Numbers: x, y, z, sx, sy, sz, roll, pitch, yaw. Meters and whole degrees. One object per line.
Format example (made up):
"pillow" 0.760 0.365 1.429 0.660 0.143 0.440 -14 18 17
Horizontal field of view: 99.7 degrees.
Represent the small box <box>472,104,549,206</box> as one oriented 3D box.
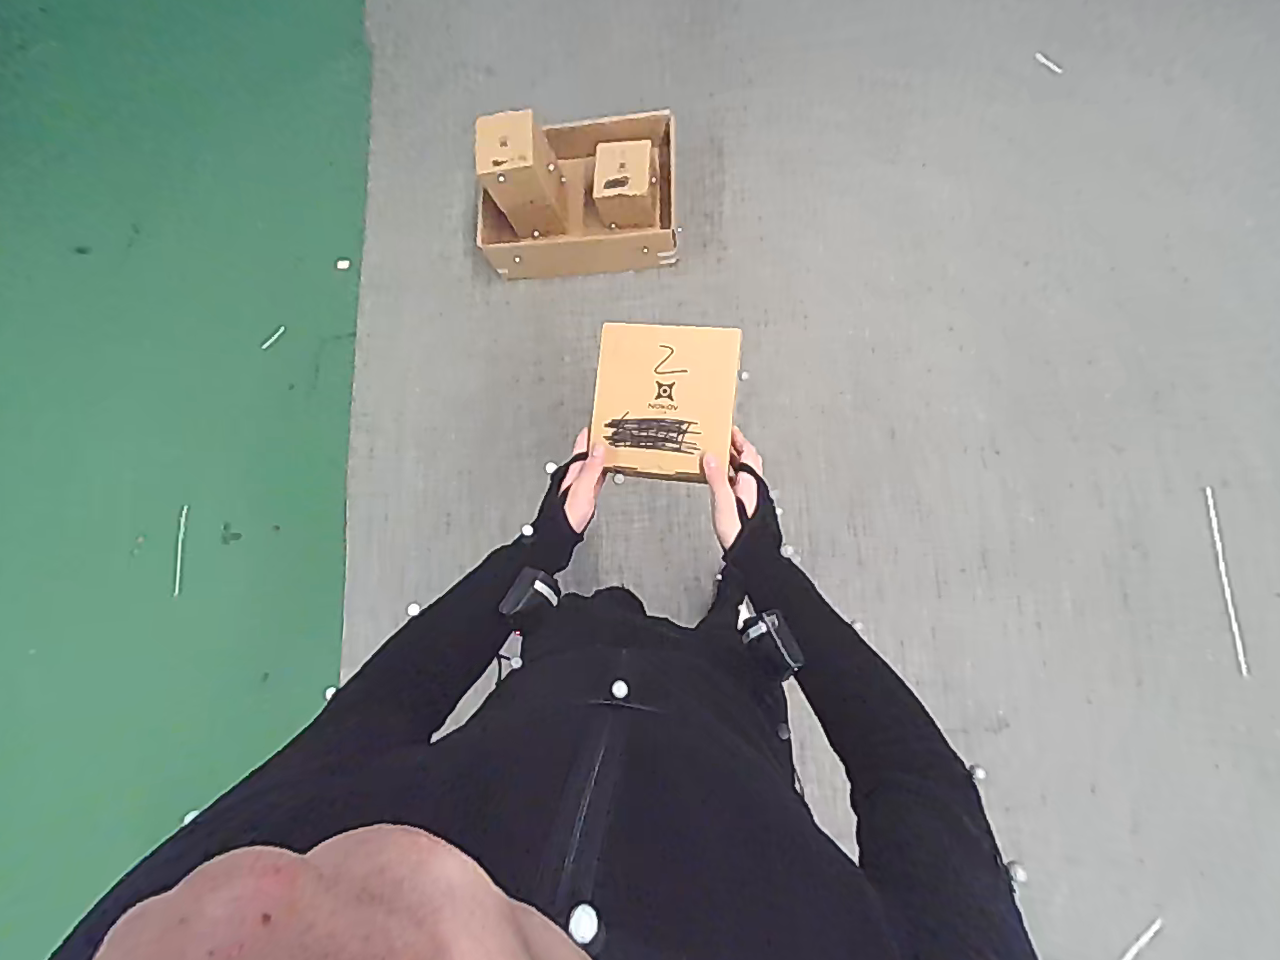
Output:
"small box" -0.367 -0.924 1.548 0.168 0.176 0.179 -4 82 9
